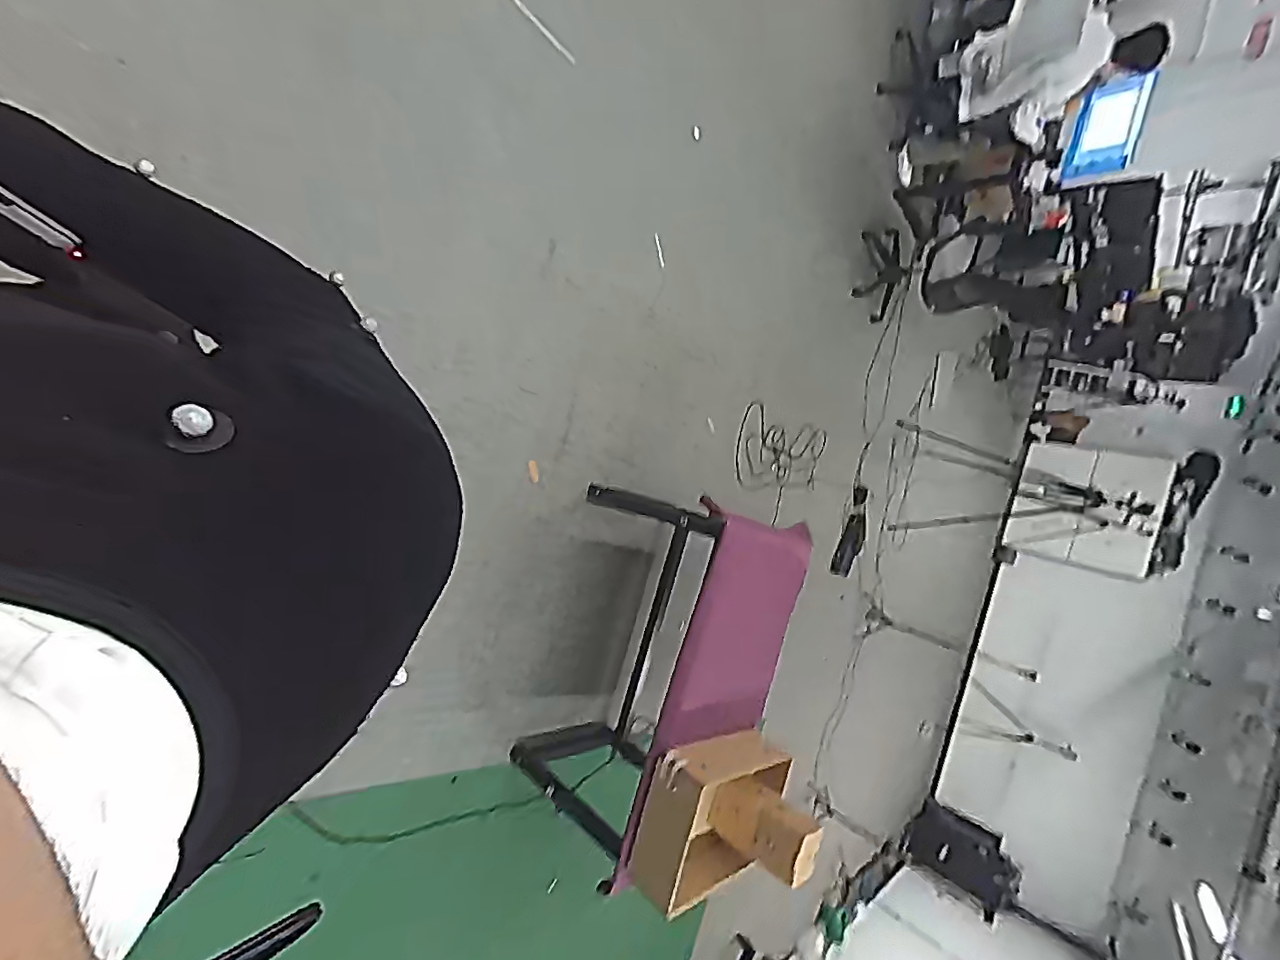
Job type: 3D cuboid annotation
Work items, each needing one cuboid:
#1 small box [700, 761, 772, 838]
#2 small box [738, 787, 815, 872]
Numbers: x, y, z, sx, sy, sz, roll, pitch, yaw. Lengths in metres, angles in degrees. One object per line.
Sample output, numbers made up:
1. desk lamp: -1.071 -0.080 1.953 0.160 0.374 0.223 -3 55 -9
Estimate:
1. small box: 0.341 1.138 1.938 0.179 0.176 0.168 22 85 -47
2. small box: 0.458 1.172 1.829 0.179 0.176 0.168 23 85 -47
